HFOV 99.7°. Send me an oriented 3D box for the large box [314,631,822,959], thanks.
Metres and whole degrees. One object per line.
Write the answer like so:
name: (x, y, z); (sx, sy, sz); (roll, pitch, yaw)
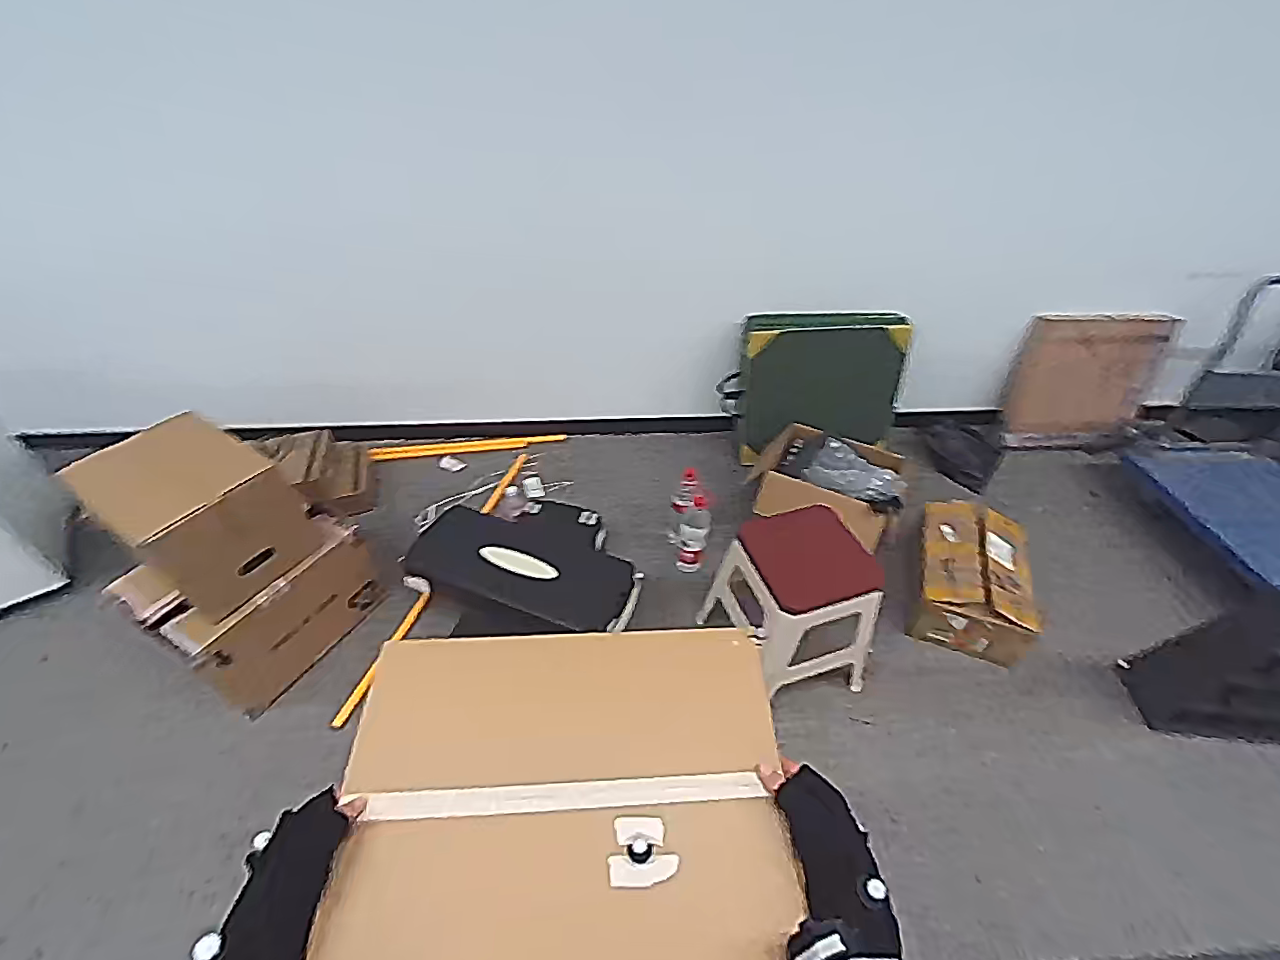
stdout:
large box: (-0.066, 0.389, 0.609); (0.408, 0.320, 0.320); (-1, 49, -2)
